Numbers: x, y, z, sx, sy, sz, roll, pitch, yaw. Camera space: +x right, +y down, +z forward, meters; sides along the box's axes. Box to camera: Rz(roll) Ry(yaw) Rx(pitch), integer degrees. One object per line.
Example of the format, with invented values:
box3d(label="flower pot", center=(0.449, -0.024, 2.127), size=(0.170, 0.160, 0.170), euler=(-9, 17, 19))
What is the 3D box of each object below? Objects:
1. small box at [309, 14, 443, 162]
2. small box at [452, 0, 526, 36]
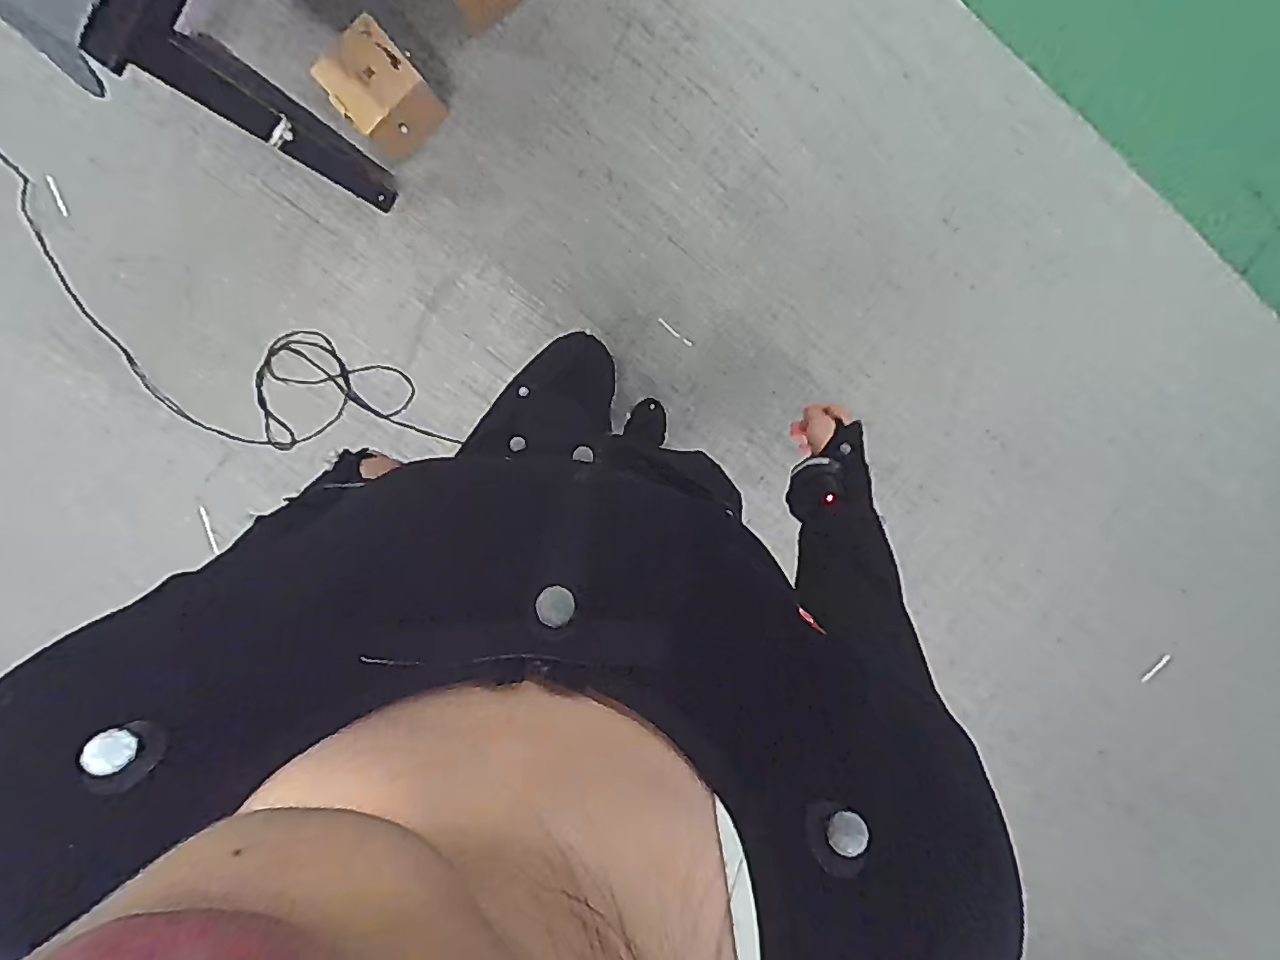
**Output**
box3d(label="small box", center=(-0.575, -0.856, 1.206), size=(0.179, 0.176, 0.168), euler=(-40, 100, 8))
box3d(label="small box", center=(-0.351, -1.117, 1.152), size=(0.179, 0.176, 0.168), euler=(-31, 100, 7))
